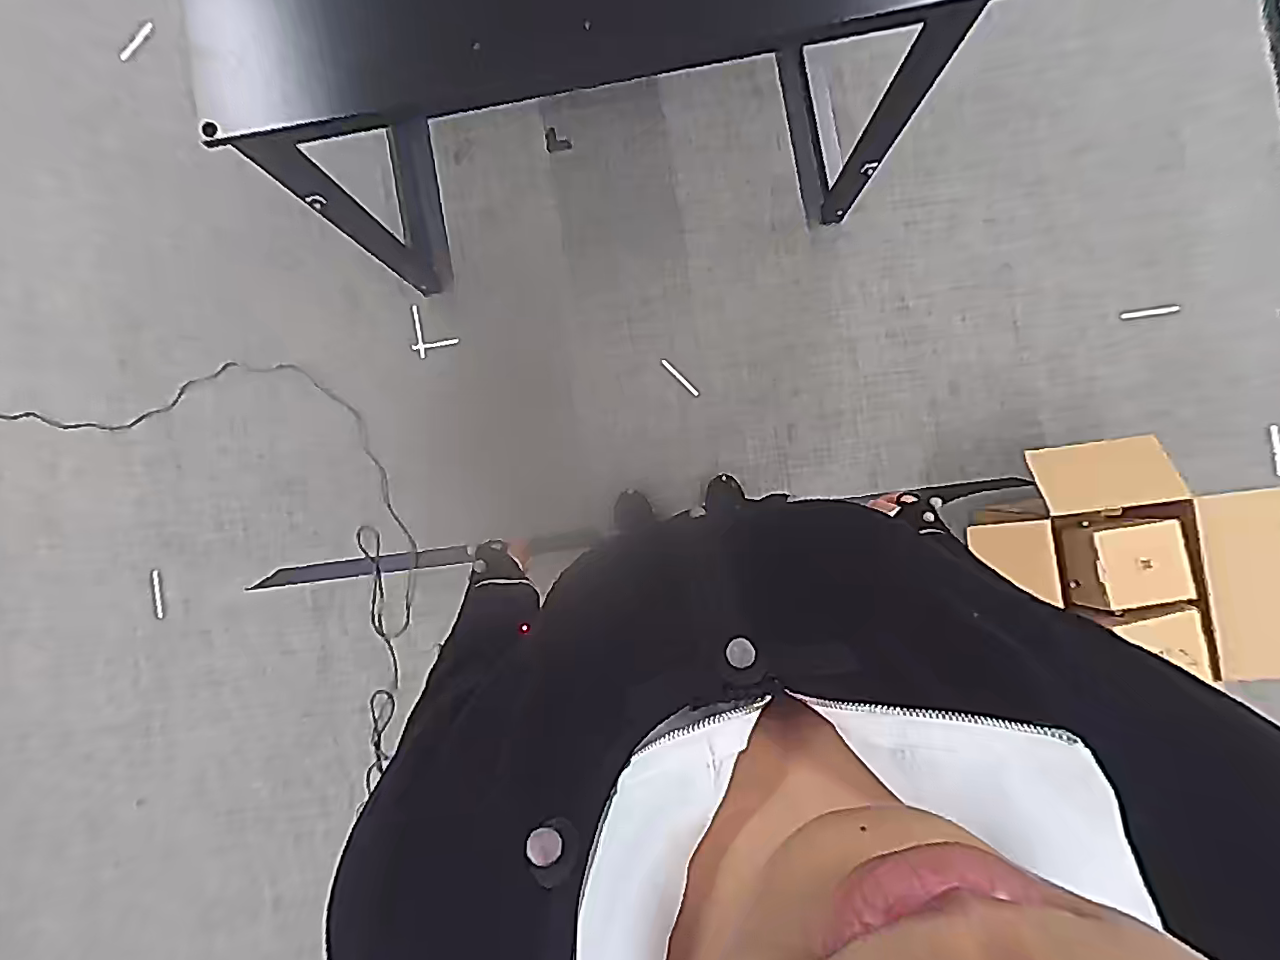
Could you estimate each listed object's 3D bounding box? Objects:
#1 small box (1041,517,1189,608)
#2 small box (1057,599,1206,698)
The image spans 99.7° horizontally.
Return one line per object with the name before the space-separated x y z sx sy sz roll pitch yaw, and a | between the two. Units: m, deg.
small box | 1.036 0.177 1.202 0.179 0.176 0.168 -11 87 1
small box | 1.072 0.353 1.199 0.179 0.176 0.168 -15 93 3
